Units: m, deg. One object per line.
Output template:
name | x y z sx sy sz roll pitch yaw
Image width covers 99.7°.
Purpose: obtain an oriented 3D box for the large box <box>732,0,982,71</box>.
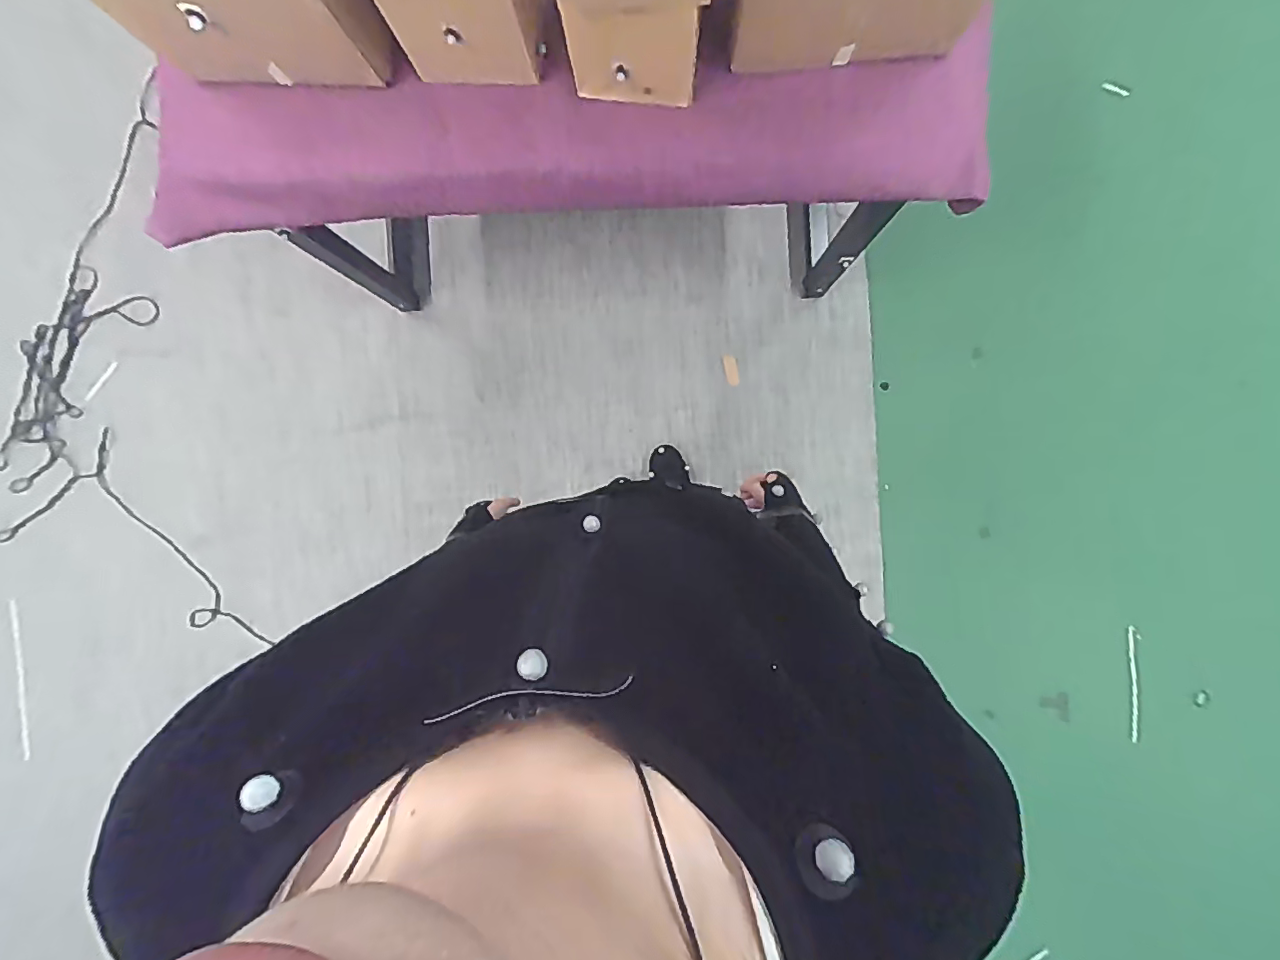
large box | 0.269 -0.791 0.620 0.320 0.320 0.408 -3 91 4
